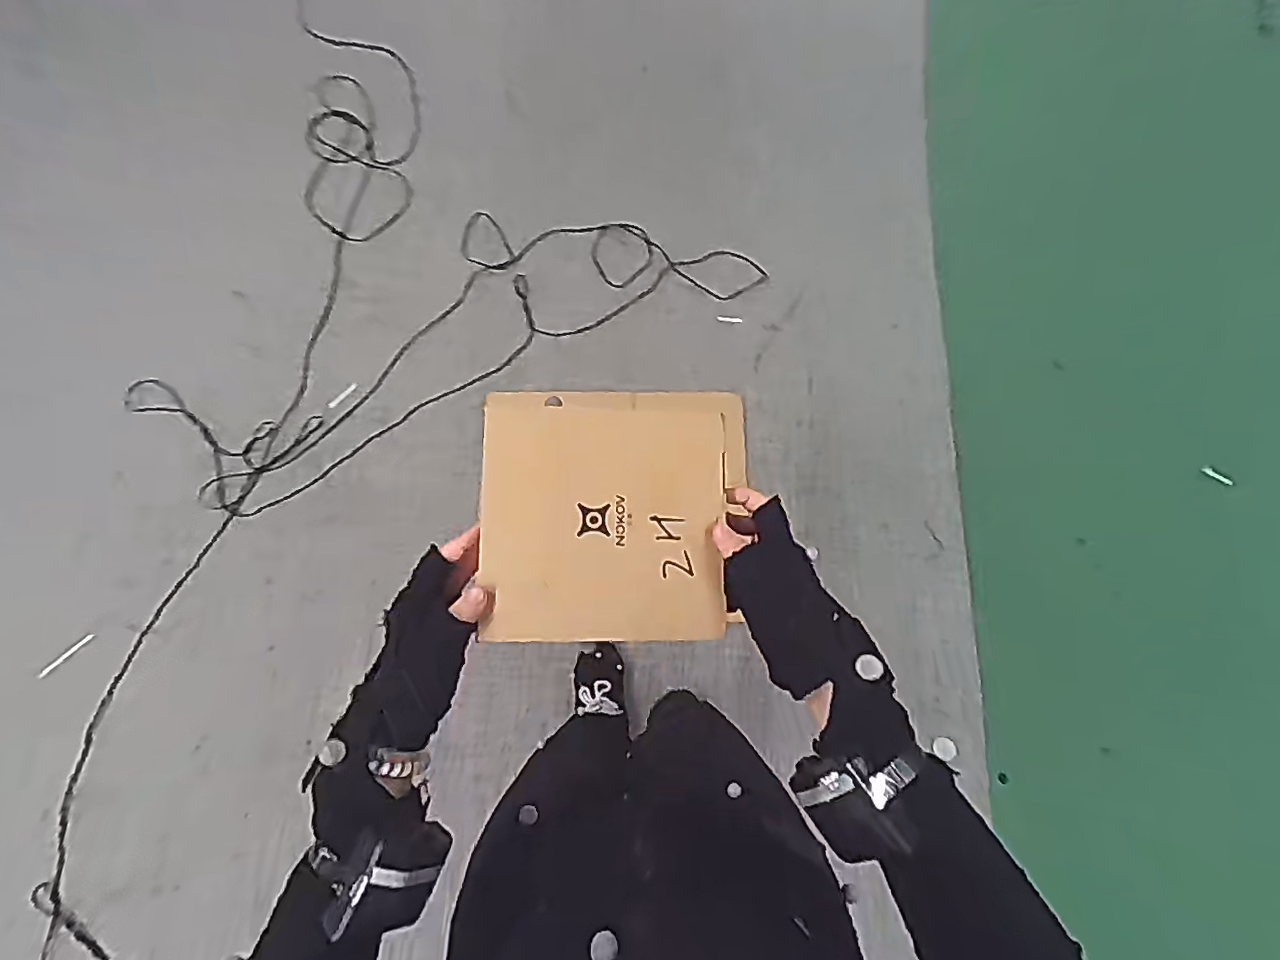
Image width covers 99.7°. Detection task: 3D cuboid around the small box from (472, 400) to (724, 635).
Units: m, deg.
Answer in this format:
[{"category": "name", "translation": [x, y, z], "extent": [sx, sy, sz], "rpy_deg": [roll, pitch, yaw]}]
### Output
[{"category": "small box", "translation": [-0.033, 0.035, 0.463], "extent": [0.179, 0.176, 0.168], "rpy_deg": [2, 84, -5]}]
